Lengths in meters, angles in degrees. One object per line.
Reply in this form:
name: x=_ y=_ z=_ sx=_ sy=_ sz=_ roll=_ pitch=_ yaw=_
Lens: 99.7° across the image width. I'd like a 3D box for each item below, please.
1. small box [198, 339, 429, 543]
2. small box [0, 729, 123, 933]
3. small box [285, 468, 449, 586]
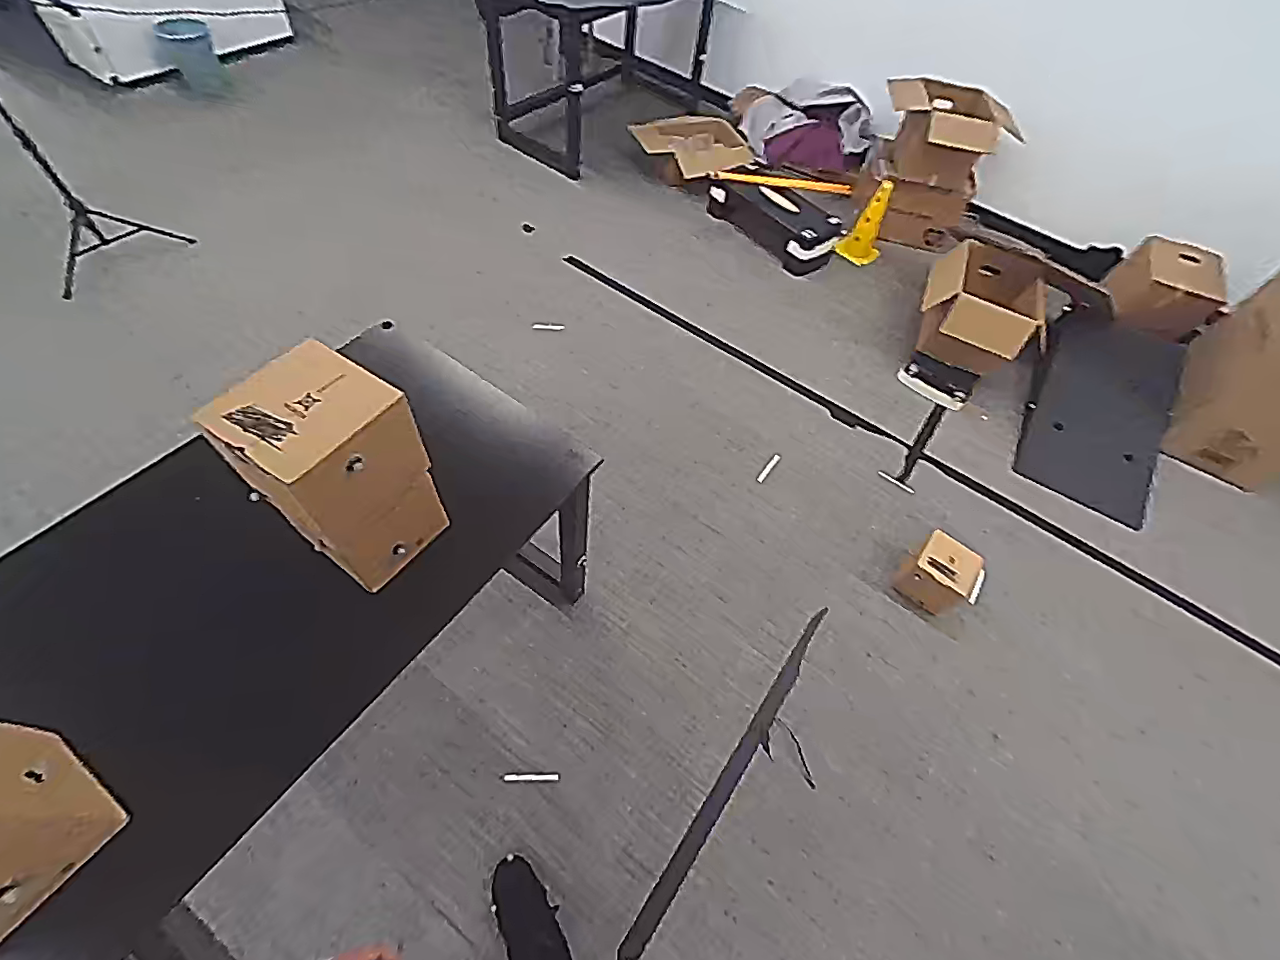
small box: x=-0.412 y=-0.046 z=0.721 sx=0.168 sy=0.176 sz=0.179 roll=31 pitch=58 yaw=12
small box: x=-0.742 y=0.388 z=0.590 sx=0.179 sy=0.176 sz=0.168 roll=32 pitch=59 yaw=13
small box: x=-0.435 y=0.040 z=0.859 sx=0.179 sy=0.176 sz=0.168 roll=33 pitch=59 yaw=14
